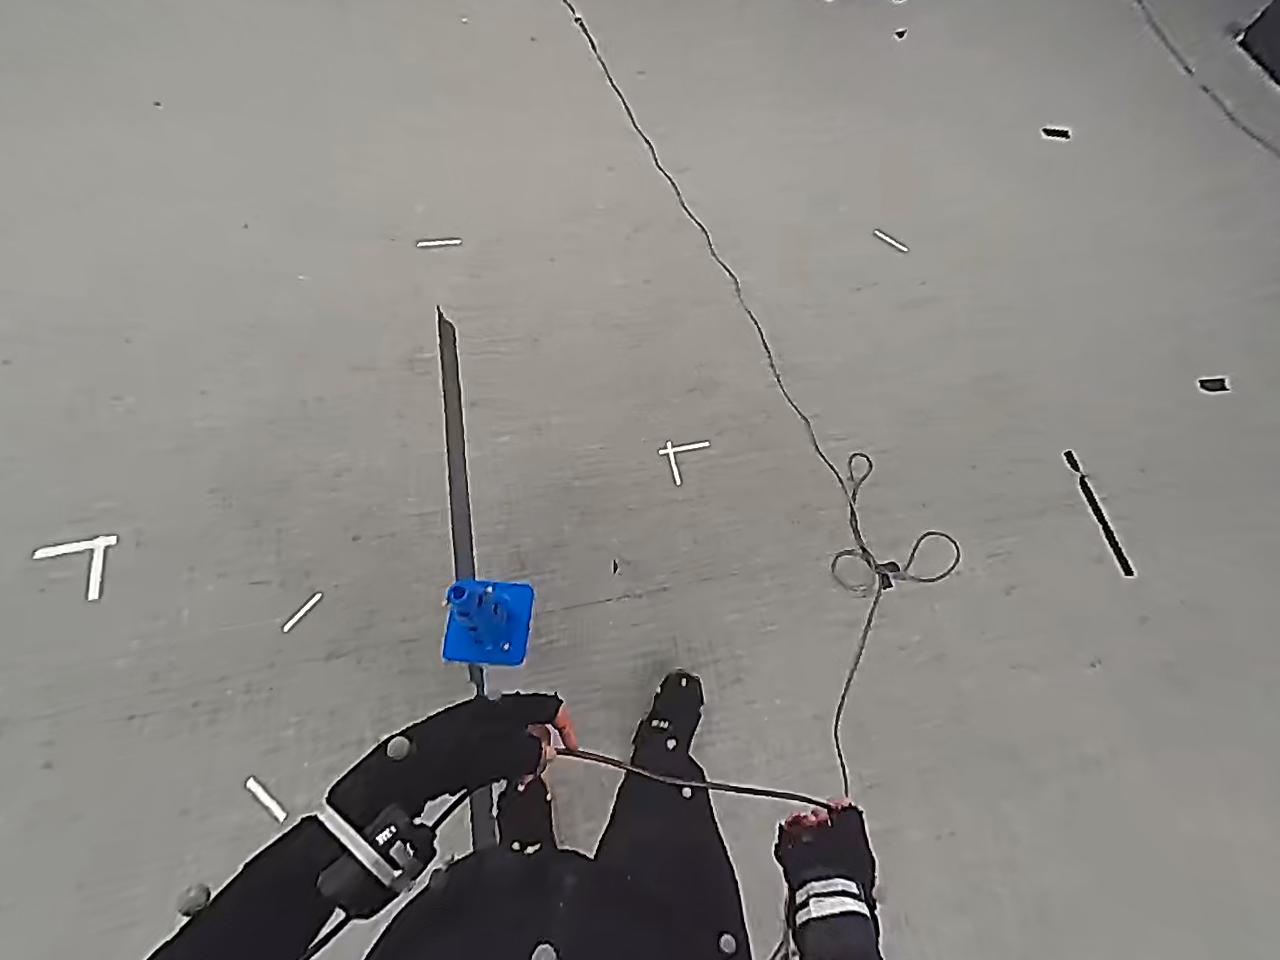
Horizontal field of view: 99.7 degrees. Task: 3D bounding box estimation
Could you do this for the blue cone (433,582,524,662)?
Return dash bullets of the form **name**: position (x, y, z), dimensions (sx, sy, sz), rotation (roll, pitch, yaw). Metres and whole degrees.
- **blue cone**: position (-0.377, 0.286, 1.190), dimensions (0.192, 0.380, 0.193), rotation (6, 66, -2)
